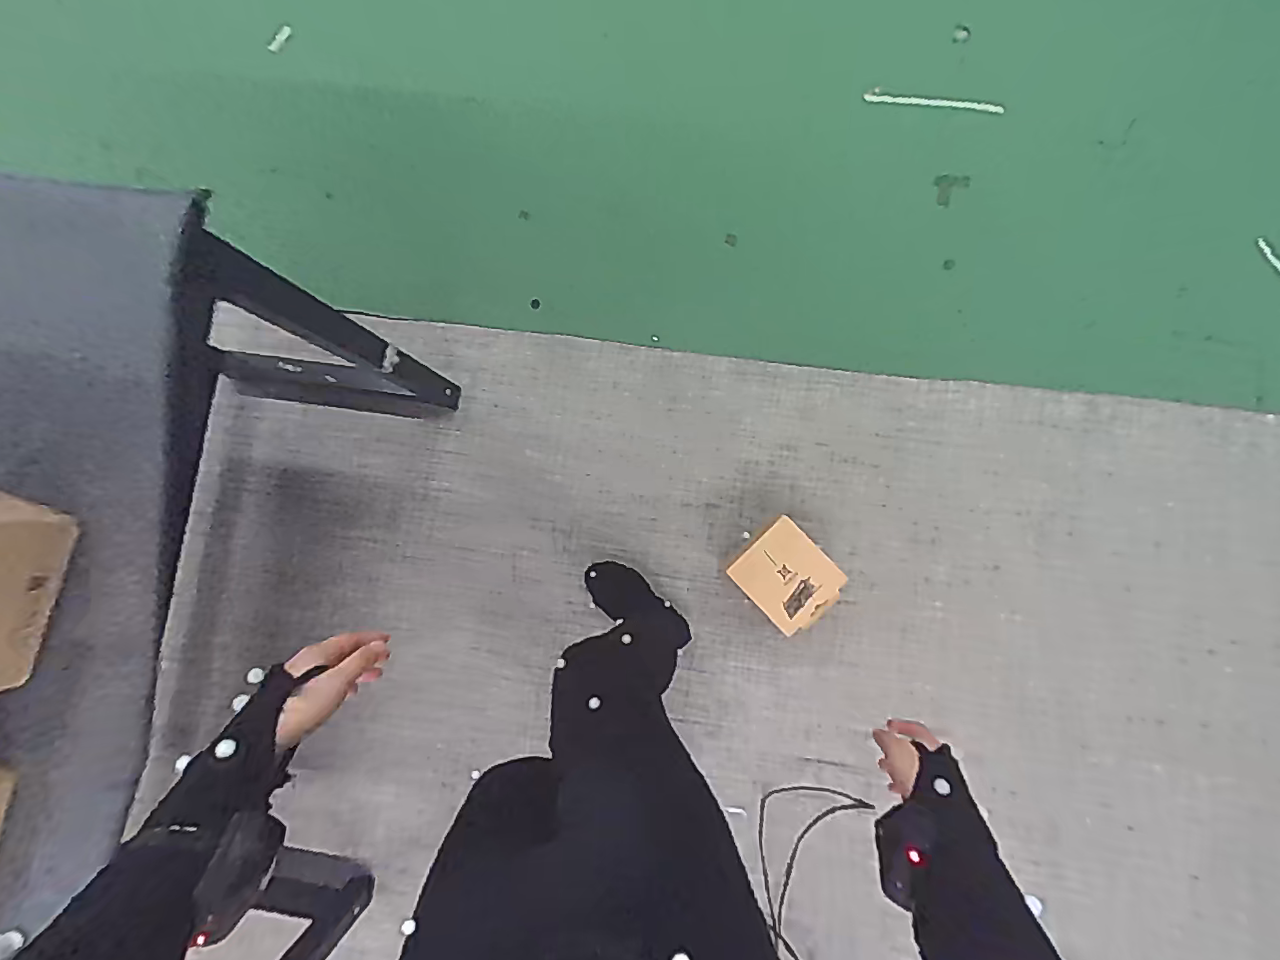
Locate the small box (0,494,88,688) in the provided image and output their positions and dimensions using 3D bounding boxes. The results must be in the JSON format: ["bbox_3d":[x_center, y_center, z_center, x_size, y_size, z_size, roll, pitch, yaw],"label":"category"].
[{"bbox_3d":[-0.644,0.091,0.451,0.179,0.176,0.168,16,87,7],"label":"small box"}]

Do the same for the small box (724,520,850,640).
[{"bbox_3d":[0.293,0.196,1.119,0.168,0.176,0.179,-44,84,-1],"label":"small box"}]
